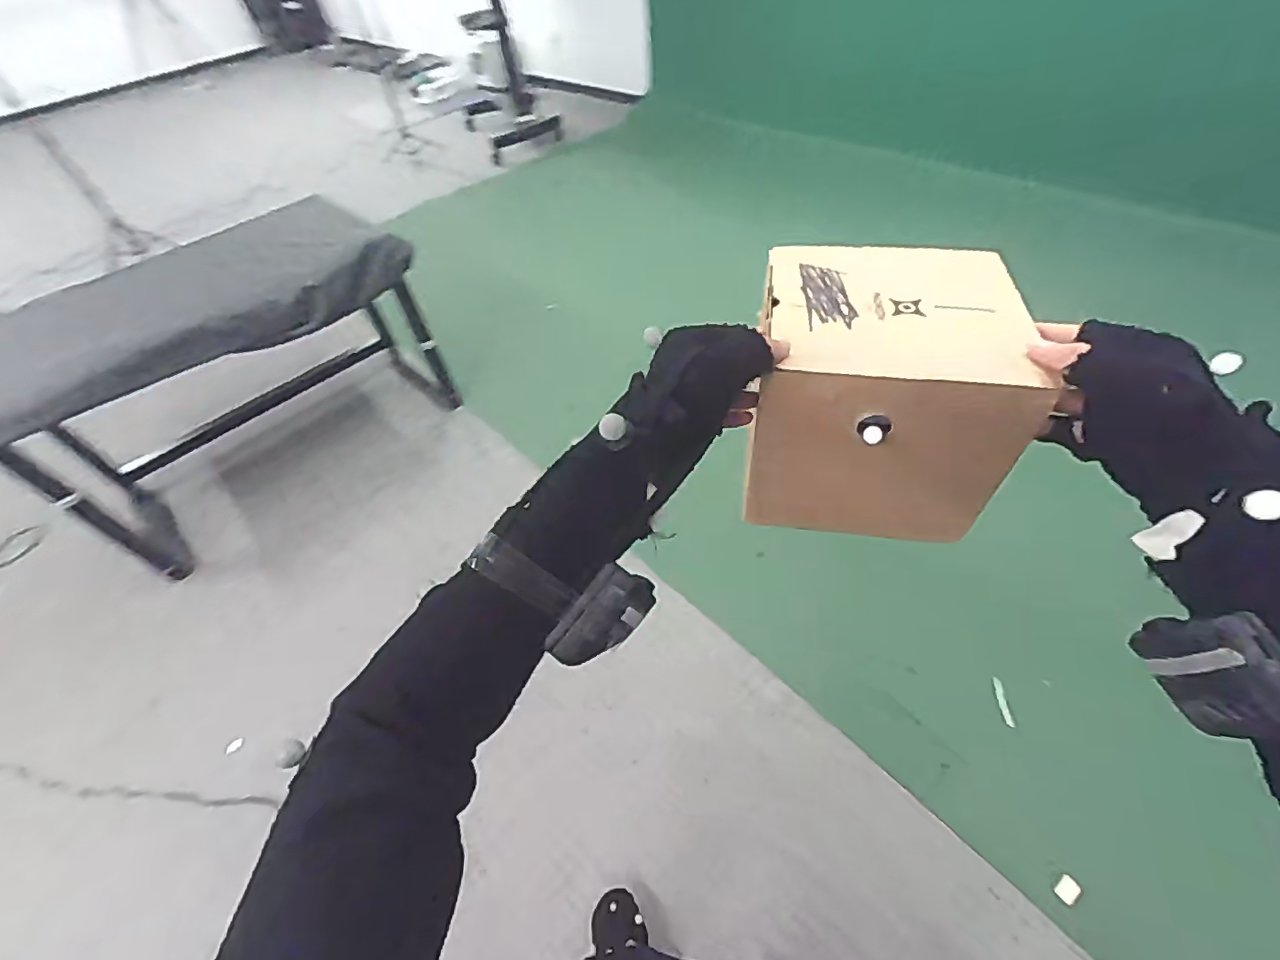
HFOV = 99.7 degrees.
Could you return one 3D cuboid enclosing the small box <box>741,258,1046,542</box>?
[{"bbox_3d":[0.179,-0.064,0.450,0.179,0.176,0.168,5,50,8],"label":"small box"}]
